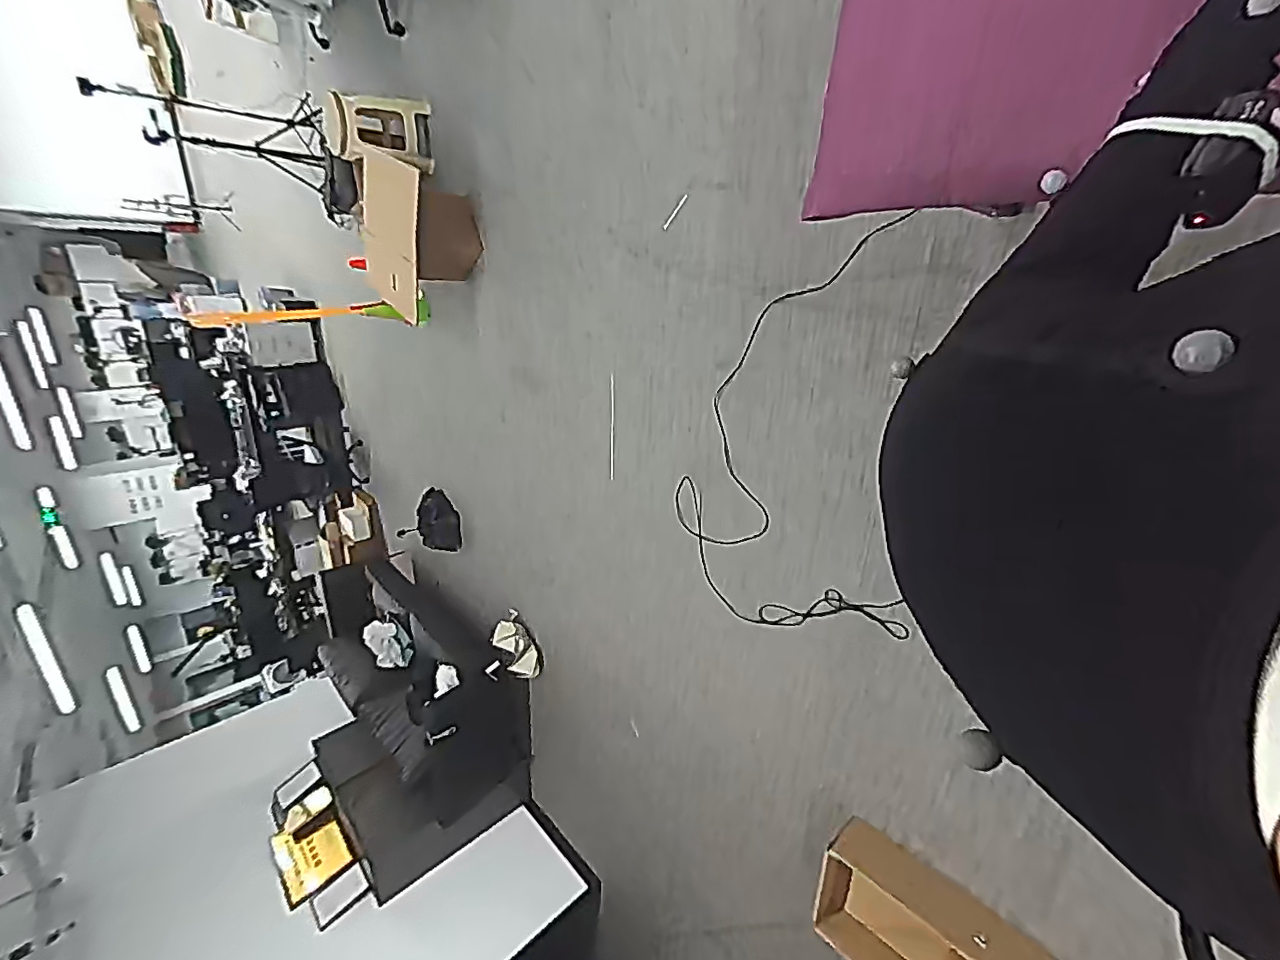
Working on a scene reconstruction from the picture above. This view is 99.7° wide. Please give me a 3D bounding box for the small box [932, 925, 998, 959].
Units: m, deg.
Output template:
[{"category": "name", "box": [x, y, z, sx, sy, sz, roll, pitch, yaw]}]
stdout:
[{"category": "small box", "box": [0.947, 1.475, 1.581, 0.168, 0.176, 0.179, 23, 120, 42]}]
